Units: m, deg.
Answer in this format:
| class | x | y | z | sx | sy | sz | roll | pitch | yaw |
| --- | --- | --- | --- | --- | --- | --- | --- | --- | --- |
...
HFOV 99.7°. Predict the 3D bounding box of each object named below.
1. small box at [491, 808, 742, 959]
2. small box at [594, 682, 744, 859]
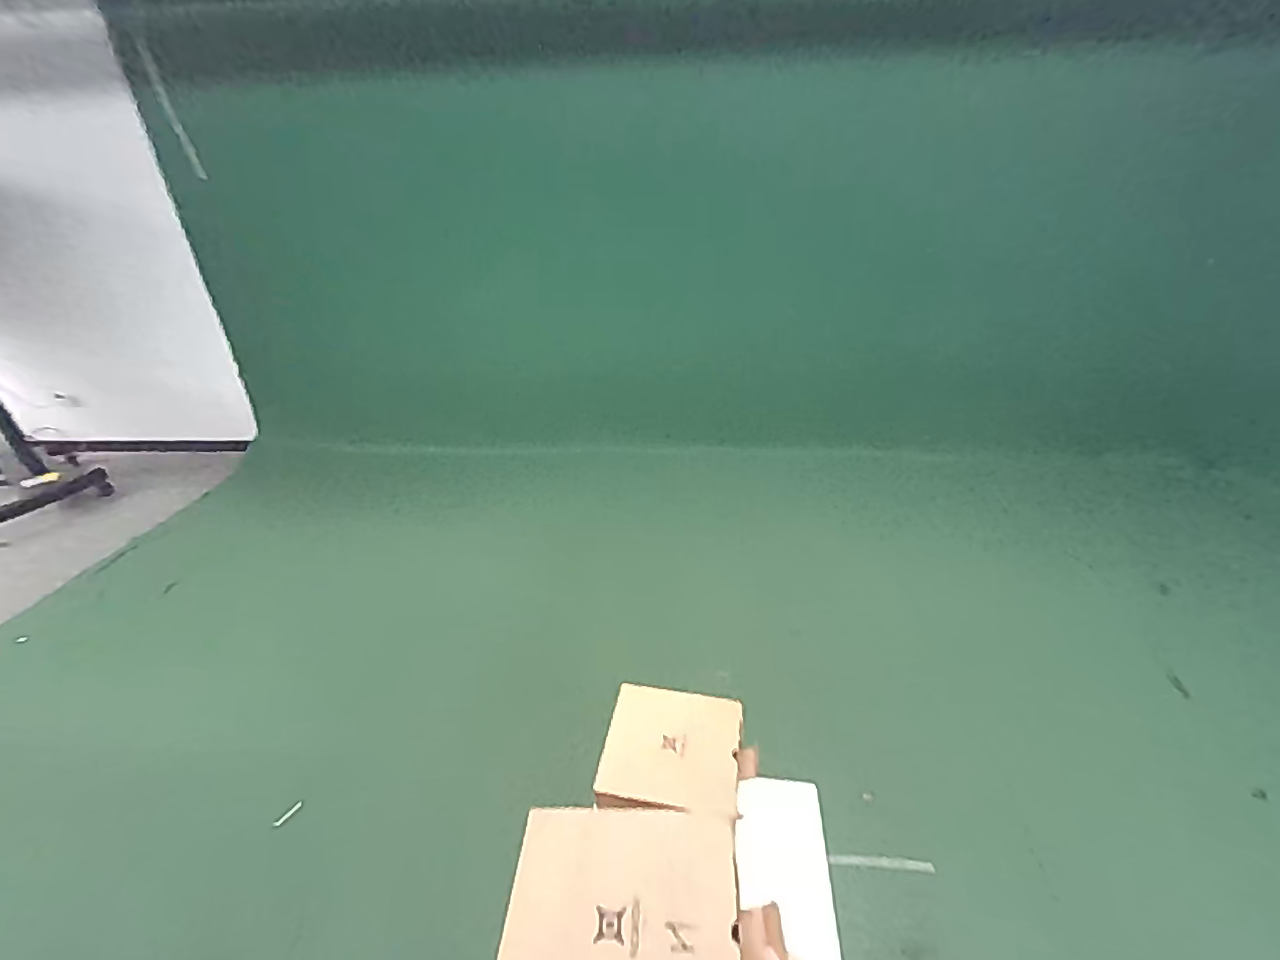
| class | x | y | z | sx | sy | sz | roll | pitch | yaw |
| --- | --- | --- | --- | --- | --- | --- | --- | --- | --- |
| small box | -0.011 | 0.388 | 0.424 | 0.179 | 0.176 | 0.168 | -1 | 31 | 4 |
| small box | 0.046 | 0.408 | 0.735 | 0.179 | 0.176 | 0.168 | 5 | 29 | 10 |
